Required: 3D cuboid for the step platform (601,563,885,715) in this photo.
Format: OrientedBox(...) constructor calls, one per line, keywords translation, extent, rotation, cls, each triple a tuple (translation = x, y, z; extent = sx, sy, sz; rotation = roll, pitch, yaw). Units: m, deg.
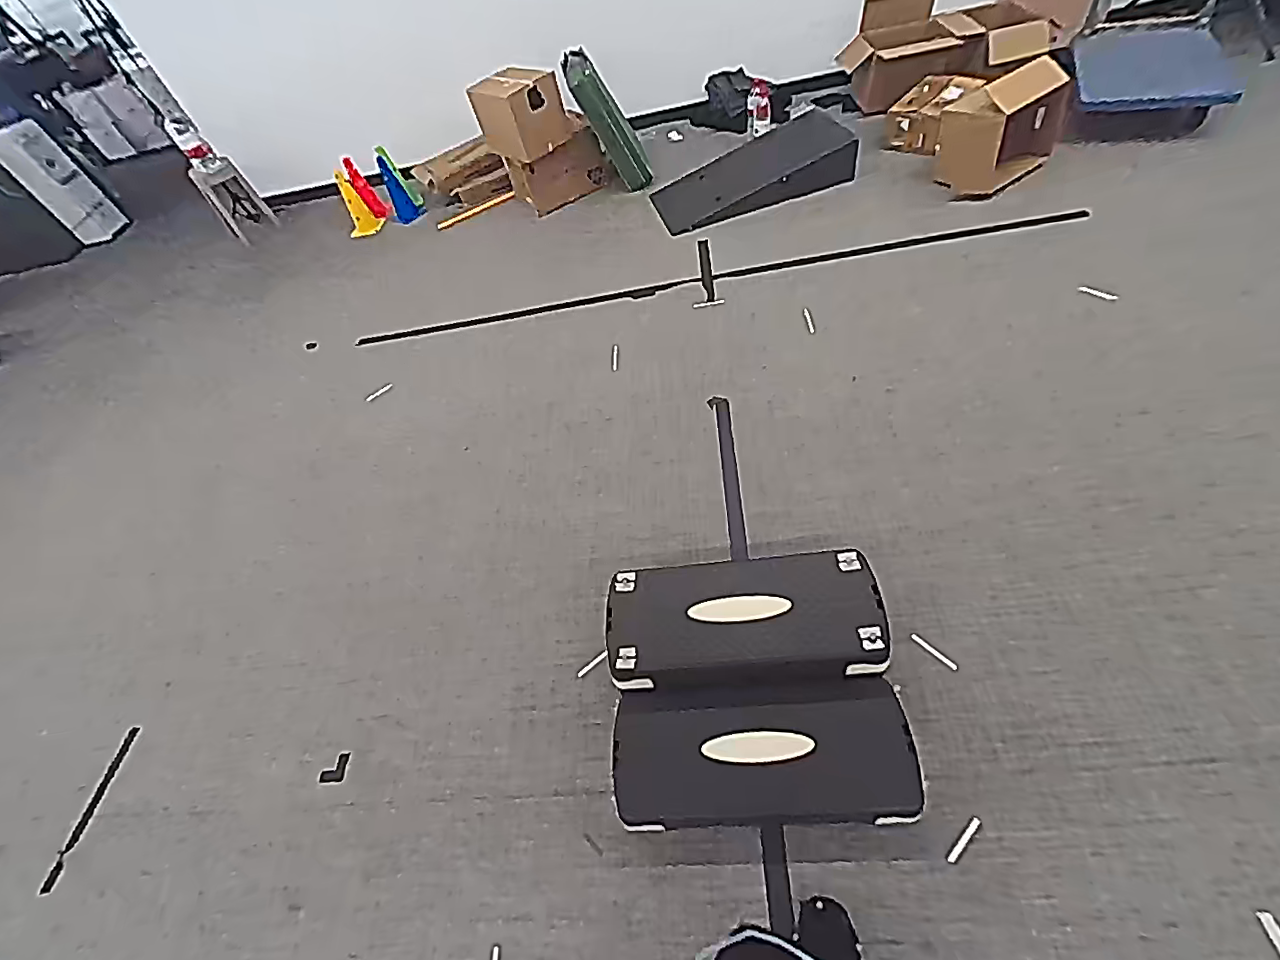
OrientedBox(translation=(0.242, 0.401, 1.369), extent=(0.684, 0.204, 0.286), rotation=(-7, 52, 7), cls="step platform")
